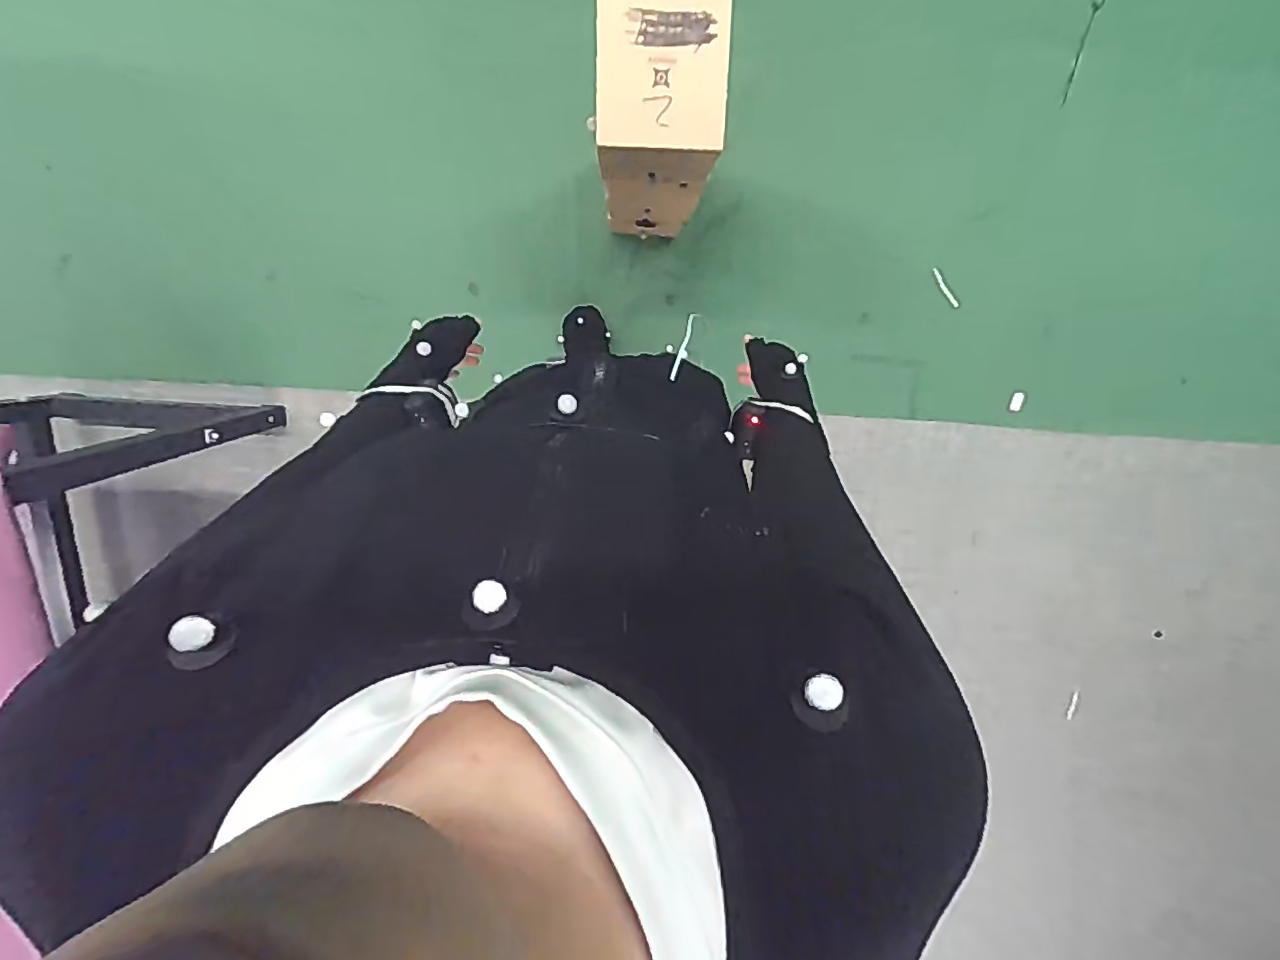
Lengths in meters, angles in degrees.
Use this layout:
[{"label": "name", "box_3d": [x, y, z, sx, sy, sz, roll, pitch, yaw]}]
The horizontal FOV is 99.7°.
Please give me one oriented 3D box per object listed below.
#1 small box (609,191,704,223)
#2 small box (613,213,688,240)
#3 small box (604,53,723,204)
[{"label": "small box", "box_3d": [0.035, -0.614, 1.059, 0.179, 0.176, 0.168, 6, 103, -3]}, {"label": "small box", "box_3d": [0.027, -0.655, 1.220, 0.168, 0.176, 0.179, 4, 105, -1]}, {"label": "small box", "box_3d": [0.033, -0.573, 0.904, 0.179, 0.176, 0.168, 3, 105, -2]}]
